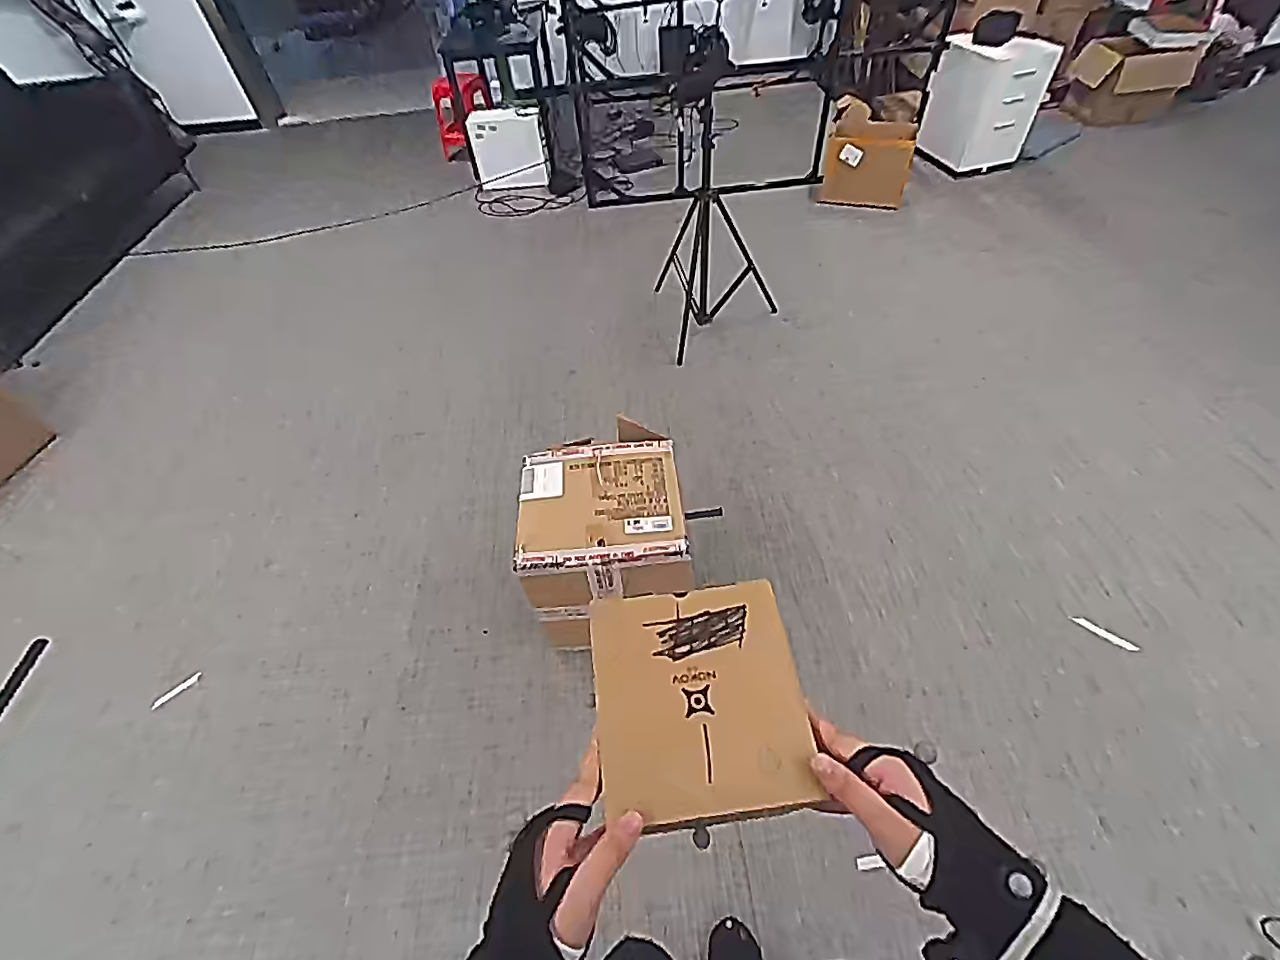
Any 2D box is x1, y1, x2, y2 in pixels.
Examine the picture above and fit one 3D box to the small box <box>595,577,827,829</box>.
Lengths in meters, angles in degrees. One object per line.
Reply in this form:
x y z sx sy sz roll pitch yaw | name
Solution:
0.049 0.211 0.505 0.168 0.176 0.179 -6 56 -3 | small box
